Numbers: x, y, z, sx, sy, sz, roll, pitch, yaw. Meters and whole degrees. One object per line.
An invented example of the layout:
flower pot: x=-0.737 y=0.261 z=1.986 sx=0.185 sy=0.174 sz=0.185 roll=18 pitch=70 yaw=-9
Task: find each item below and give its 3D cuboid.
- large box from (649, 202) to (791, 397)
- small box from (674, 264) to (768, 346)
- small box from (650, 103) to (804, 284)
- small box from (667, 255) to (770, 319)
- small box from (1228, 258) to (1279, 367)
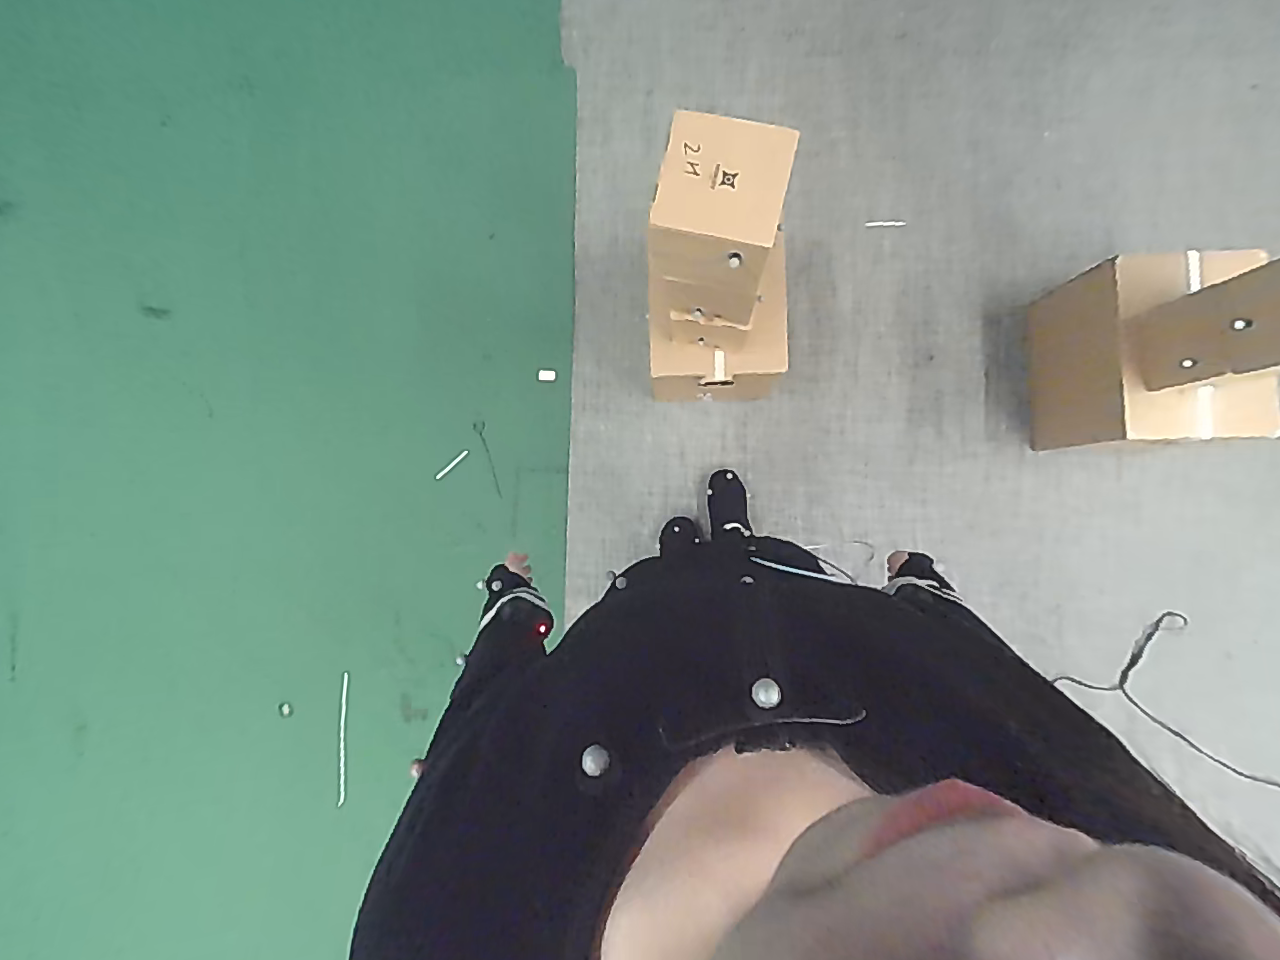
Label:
large box: x=0.193 y=-0.443 z=1.375 sx=0.320 sy=0.320 sz=0.408 roll=-1 pitch=87 yaw=5
small box: x=0.167 y=-0.398 z=1.133 sx=0.168 sy=0.176 sz=0.179 roll=10 pitch=90 yaw=5
small box: x=0.124 y=-0.412 z=0.808 sx=0.179 sy=0.176 sz=0.168 roll=15 pitch=90 yaw=6
small box: x=0.147 y=-0.412 z=0.971 sx=0.168 sy=0.176 sz=0.179 roll=14 pitch=91 yaw=6
small box: x=1.143 y=-0.292 z=0.888 sx=0.168 sy=0.176 sz=0.179 roll=-9 pitch=89 yaw=5
